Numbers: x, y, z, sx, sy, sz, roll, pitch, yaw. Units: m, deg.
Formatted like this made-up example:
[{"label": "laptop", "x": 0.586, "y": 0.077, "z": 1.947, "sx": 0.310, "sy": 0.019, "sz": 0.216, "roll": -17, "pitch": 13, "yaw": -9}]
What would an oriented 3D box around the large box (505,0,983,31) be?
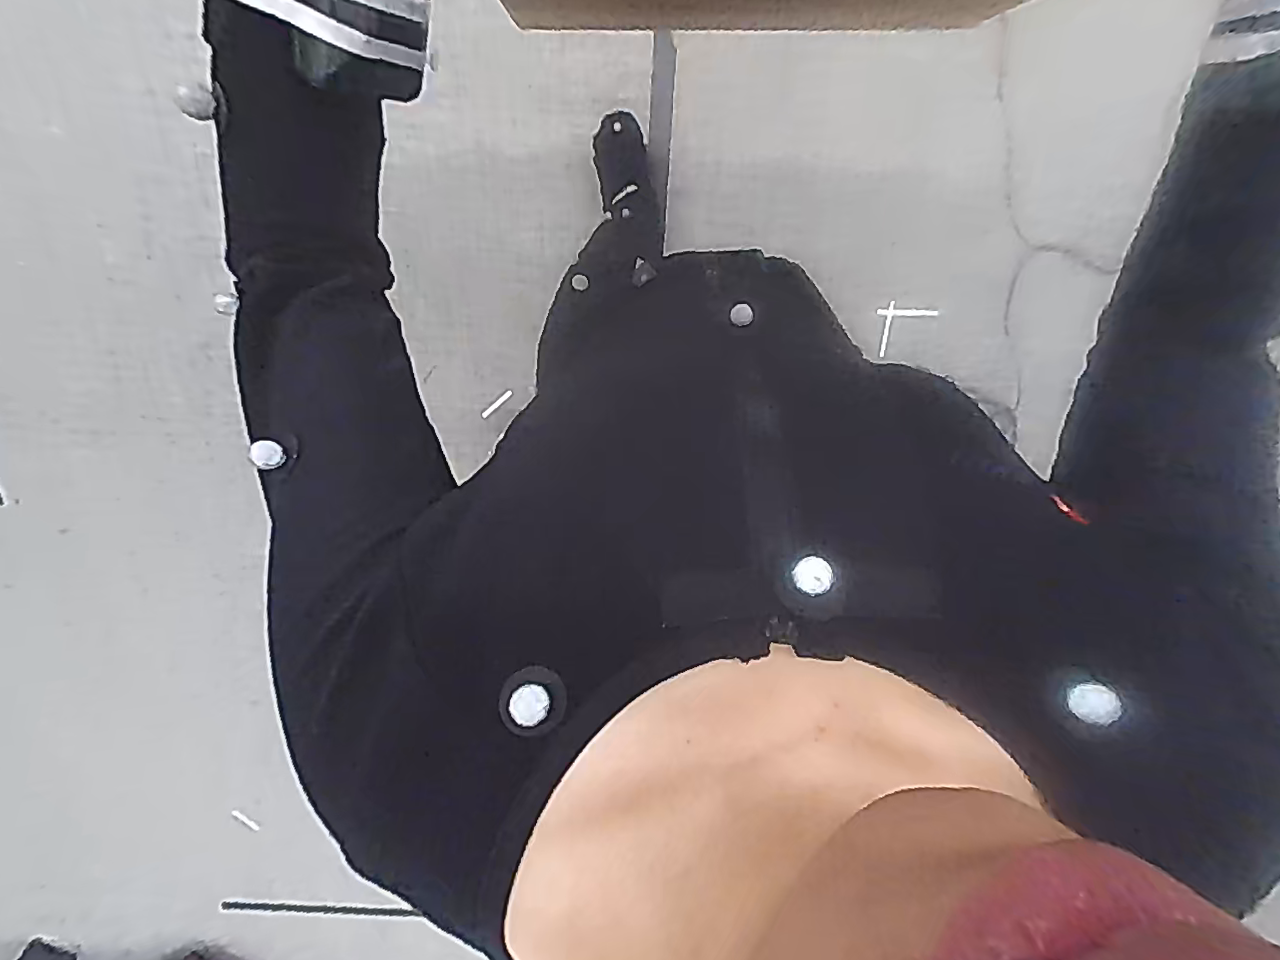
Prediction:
[{"label": "large box", "x": 0.088, "y": -0.472, "z": 0.277, "sx": 0.408, "sy": 0.320, "sz": 0.320, "roll": -2, "pitch": 118, "yaw": -1}]
